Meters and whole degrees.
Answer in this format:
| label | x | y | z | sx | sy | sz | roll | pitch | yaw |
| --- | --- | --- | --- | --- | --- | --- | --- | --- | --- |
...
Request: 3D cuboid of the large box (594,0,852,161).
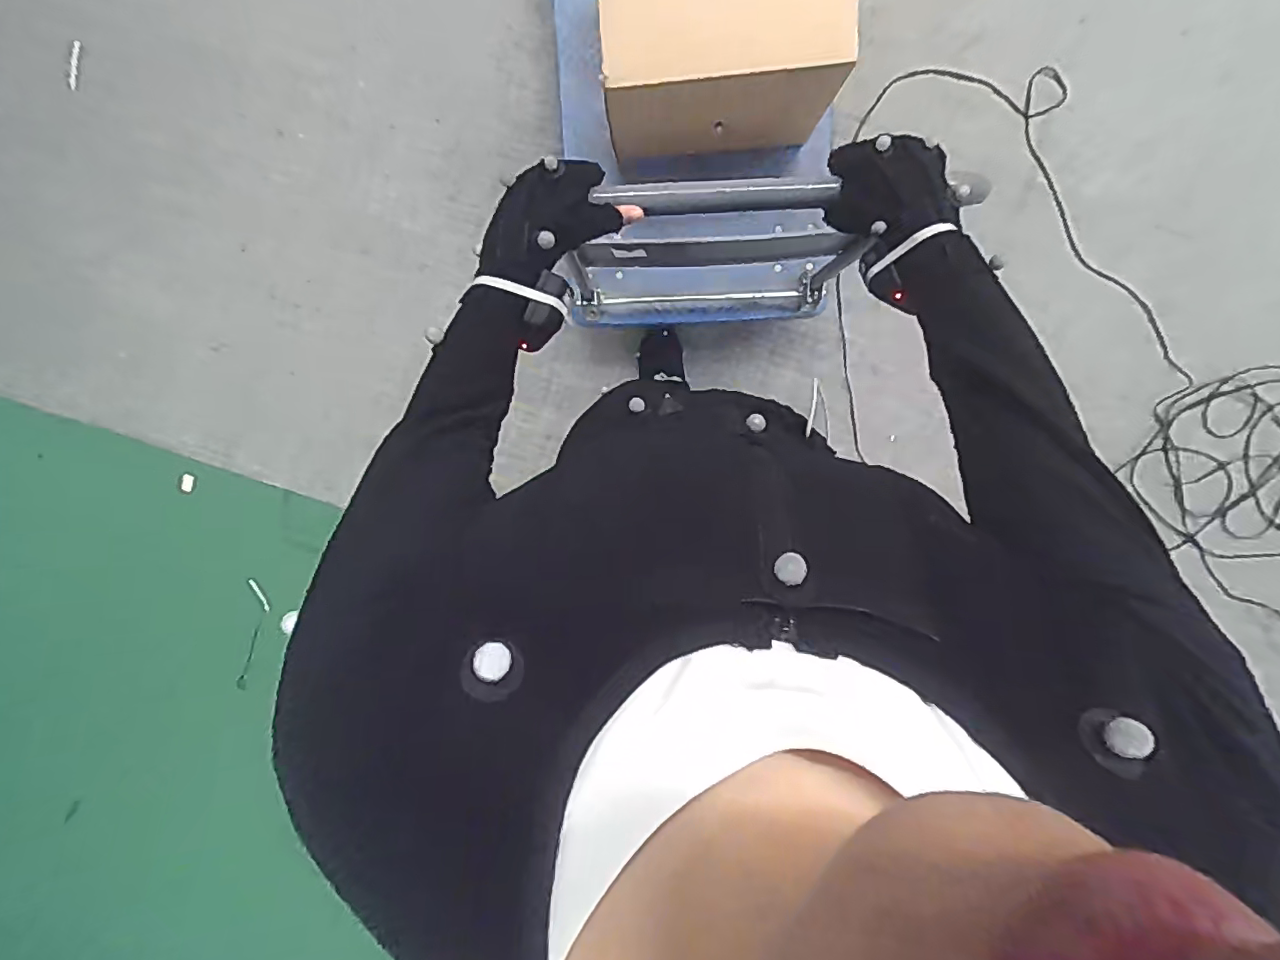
| label | x | y | z | sx | sy | sz | roll | pitch | yaw |
| --- | --- | --- | --- | --- | --- | --- | --- | --- | --- |
| large box | 0.130 | -0.821 | 0.982 | 0.408 | 0.320 | 0.320 | -5 | 100 | 3 |
